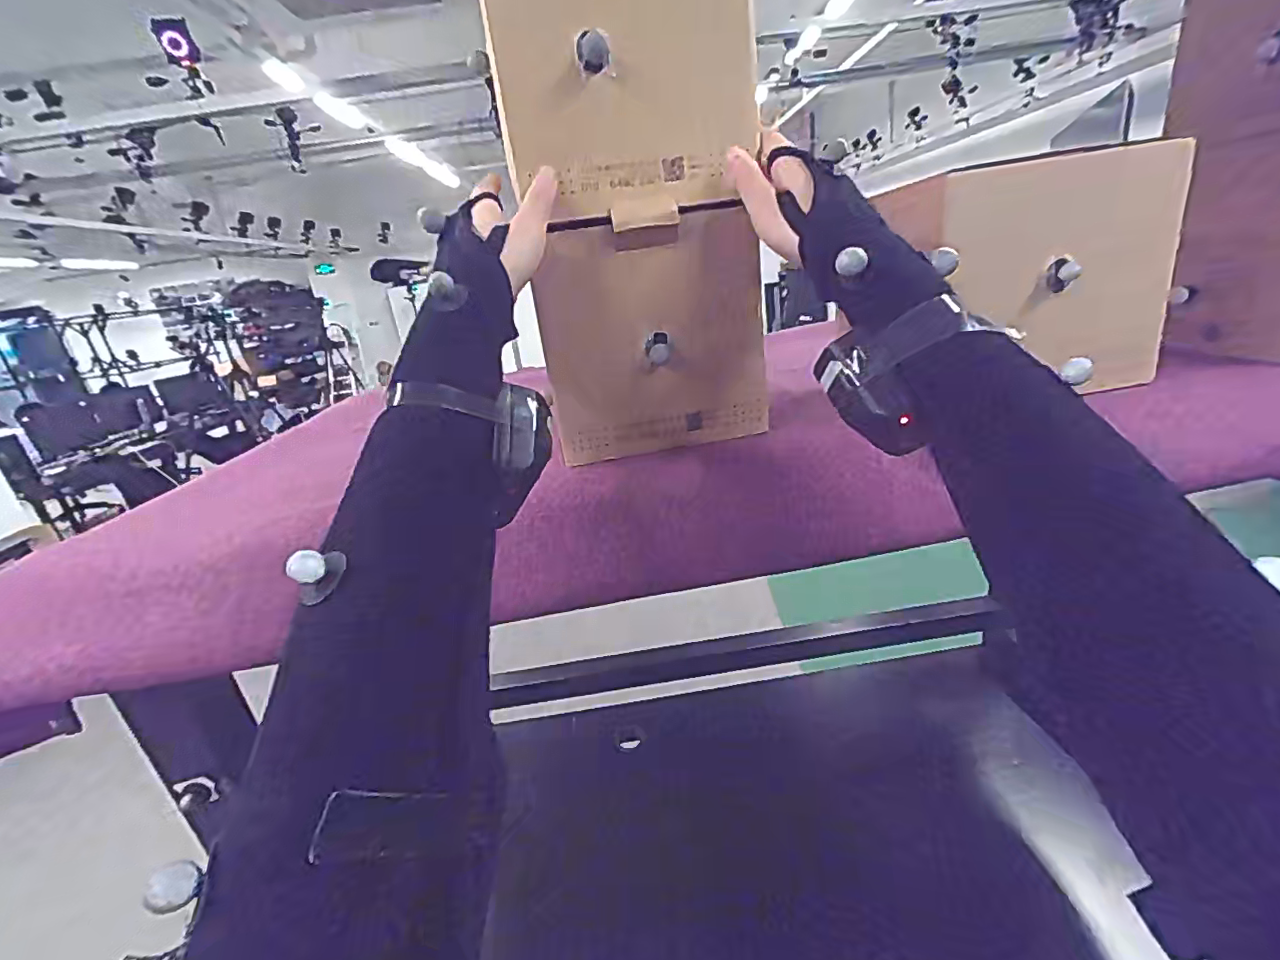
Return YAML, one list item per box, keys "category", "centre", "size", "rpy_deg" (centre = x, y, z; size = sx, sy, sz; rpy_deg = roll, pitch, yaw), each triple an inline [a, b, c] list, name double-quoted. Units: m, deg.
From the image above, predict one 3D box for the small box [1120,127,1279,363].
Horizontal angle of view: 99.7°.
- category: "small box"
  centre: [0.558, -0.204, 0.451]
  size: [0.179, 0.176, 0.168]
  rpy_deg: [-10, 20, 0]

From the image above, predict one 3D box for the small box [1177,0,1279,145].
- category: "small box"
  centre: [0.539, -0.348, 0.373]
  size: [0.179, 0.176, 0.168]
  rpy_deg: [-9, 20, -1]

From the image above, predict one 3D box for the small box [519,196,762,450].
- category: "small box"
  centre: [0.000, -0.130, 0.469]
  size: [0.168, 0.176, 0.179]
  rpy_deg: [-10, 20, -5]

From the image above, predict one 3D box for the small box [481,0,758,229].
- category: "small box"
  centre: [-0.019, -0.282, 0.411]
  size: [0.168, 0.176, 0.179]
  rpy_deg: [-11, 18, -7]
